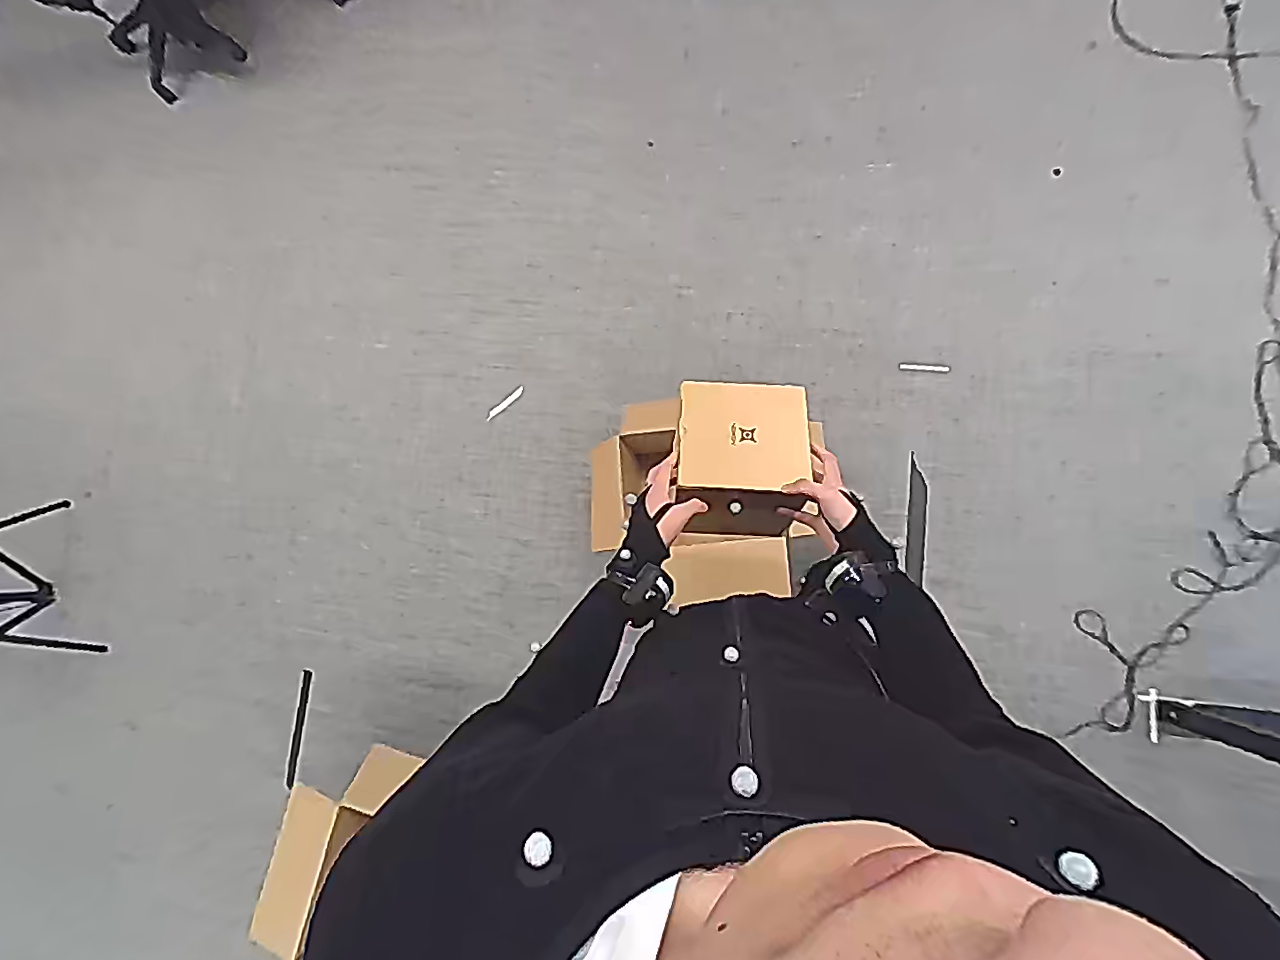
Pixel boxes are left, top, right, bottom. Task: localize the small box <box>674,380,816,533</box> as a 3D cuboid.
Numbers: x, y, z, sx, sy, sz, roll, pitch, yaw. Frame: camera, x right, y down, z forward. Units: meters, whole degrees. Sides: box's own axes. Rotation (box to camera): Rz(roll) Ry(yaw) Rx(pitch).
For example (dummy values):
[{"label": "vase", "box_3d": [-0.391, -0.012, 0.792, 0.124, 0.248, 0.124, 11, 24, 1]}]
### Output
[{"label": "small box", "box_3d": [0.141, -0.028, 0.786, 0.179, 0.176, 0.168, 2, 65, 3]}]
